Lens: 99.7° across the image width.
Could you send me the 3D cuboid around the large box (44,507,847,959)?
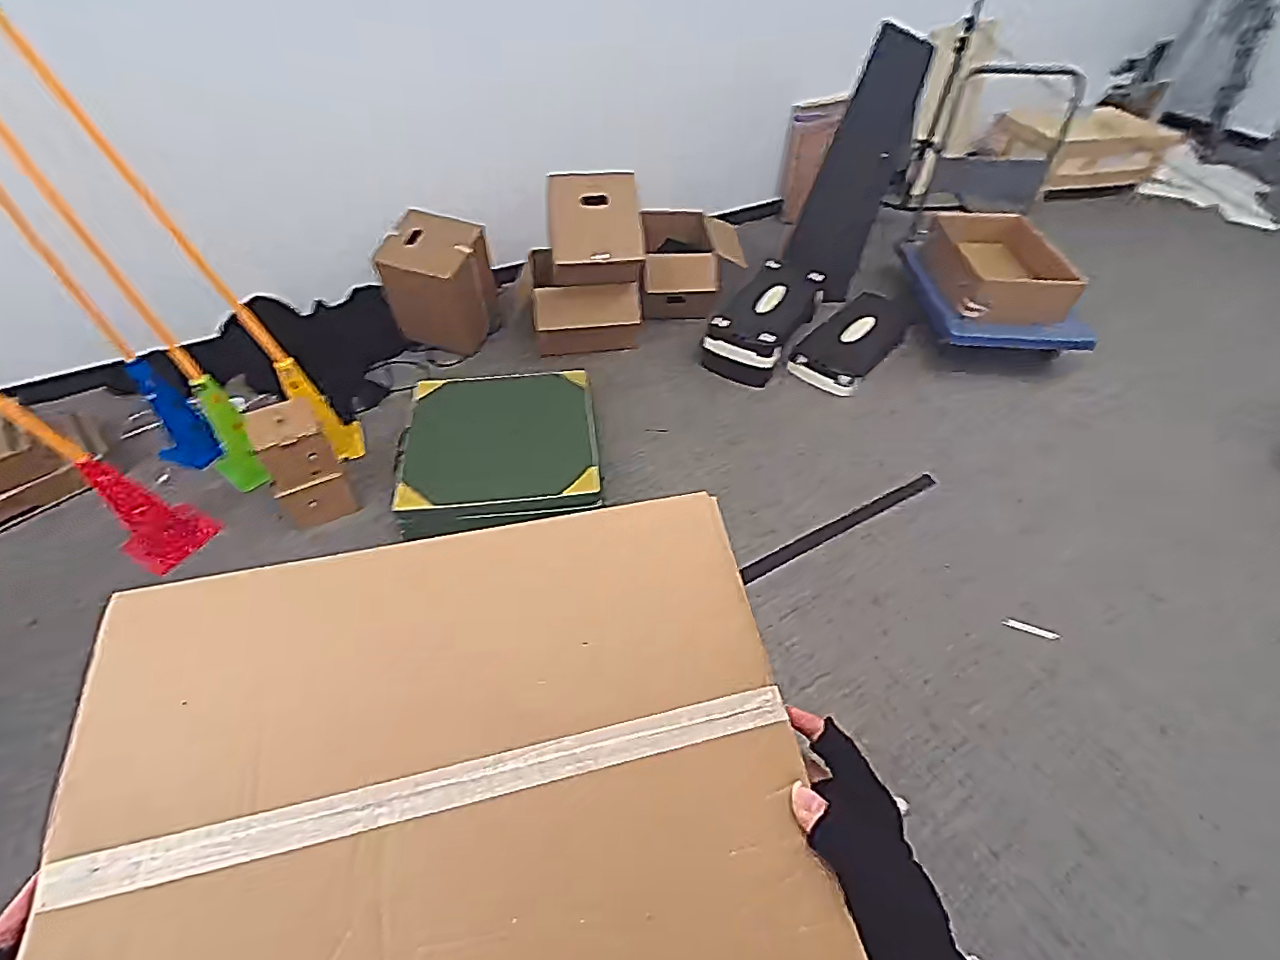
[{"bbox_3d":[-0.118,0.255,0.447,0.408,0.320,0.320,-9,60,-9],"label":"large box"}]
